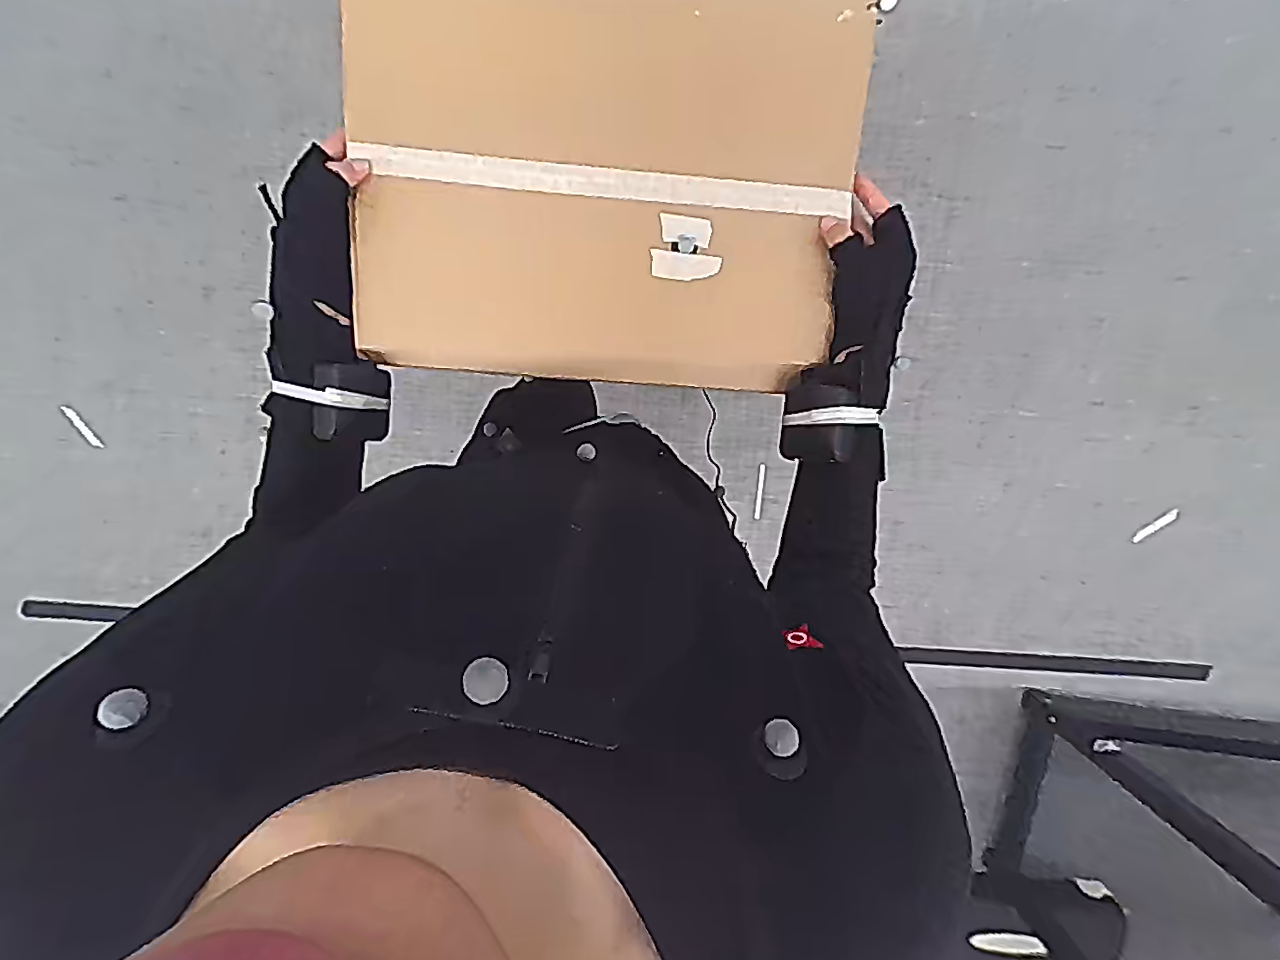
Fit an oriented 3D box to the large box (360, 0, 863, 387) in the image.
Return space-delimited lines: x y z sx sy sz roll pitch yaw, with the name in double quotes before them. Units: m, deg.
"large box" -0.036 -0.274 0.597 0.408 0.320 0.320 3 103 -5
